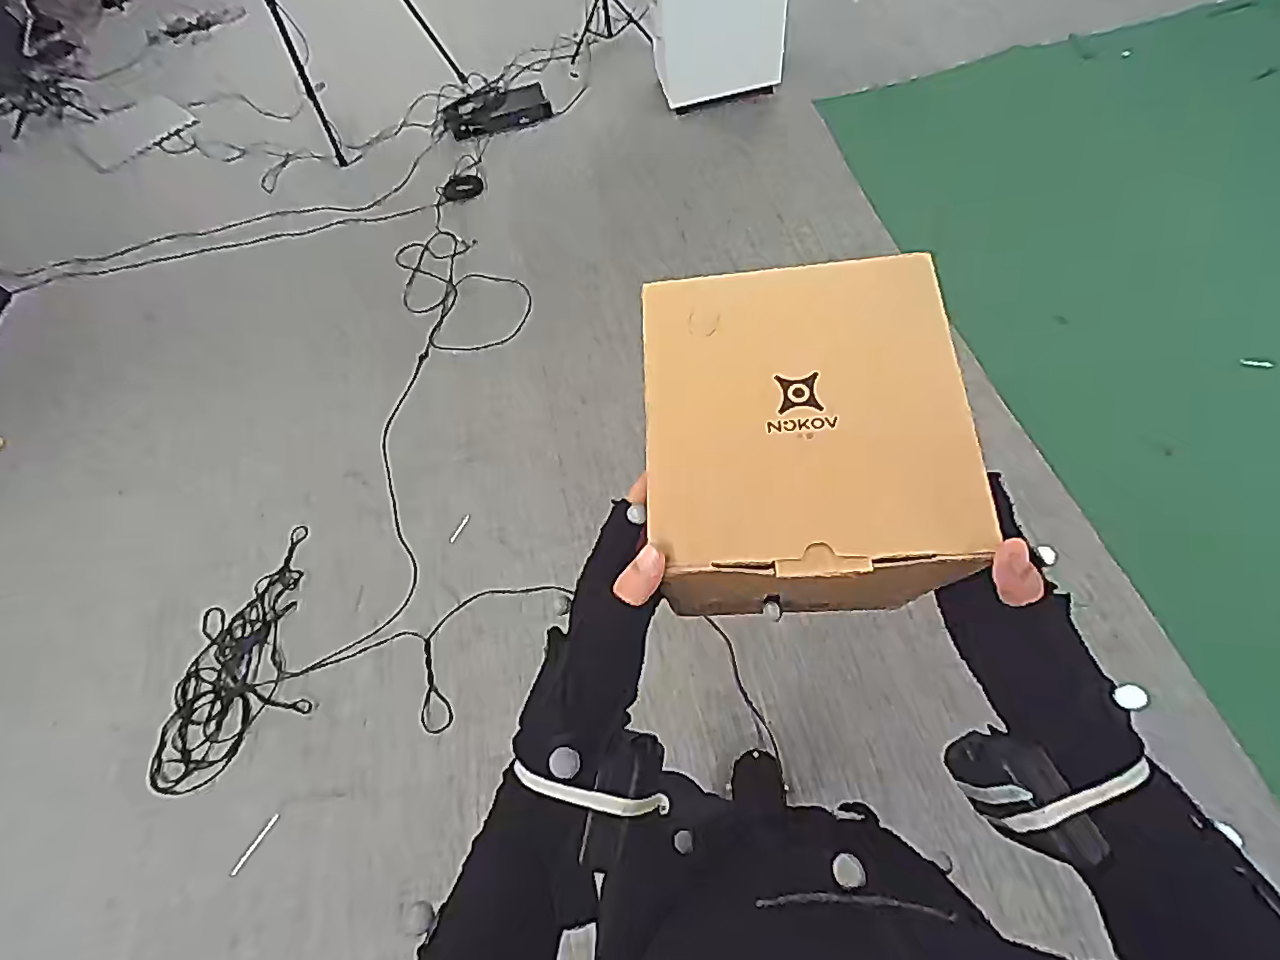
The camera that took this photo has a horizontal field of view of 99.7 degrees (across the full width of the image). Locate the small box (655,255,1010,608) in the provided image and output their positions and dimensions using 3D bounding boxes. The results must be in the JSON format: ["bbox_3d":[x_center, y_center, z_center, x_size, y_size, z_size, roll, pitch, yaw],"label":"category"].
[{"bbox_3d":[0.098,-0.016,0.360,0.168,0.176,0.179,-4,69,7],"label":"small box"}]
